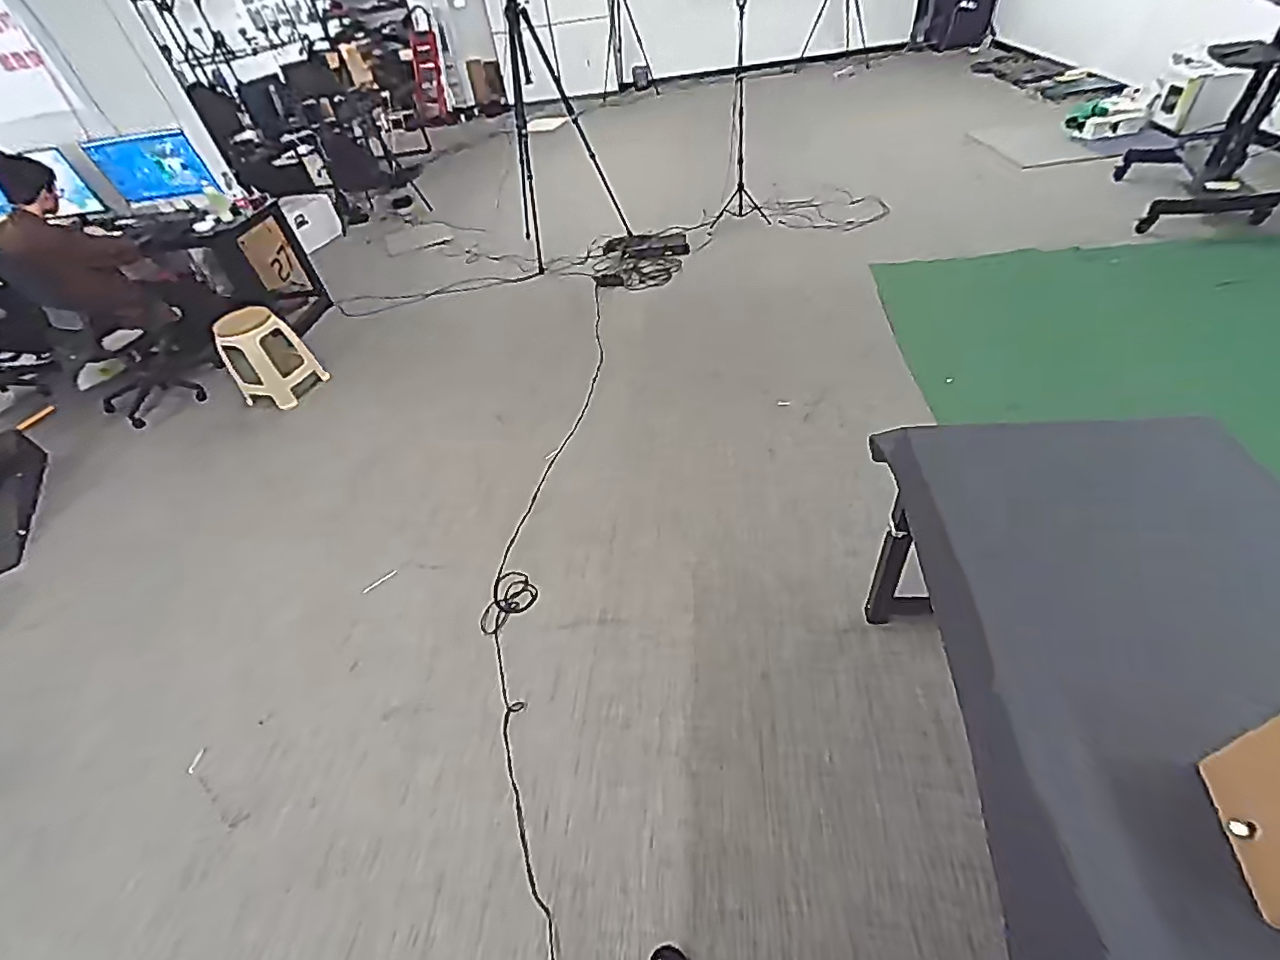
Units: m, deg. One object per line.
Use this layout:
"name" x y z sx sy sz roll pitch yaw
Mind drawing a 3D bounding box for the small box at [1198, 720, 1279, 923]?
"small box" 0.778 0.391 0.581 0.168 0.176 0.179 5 47 15
